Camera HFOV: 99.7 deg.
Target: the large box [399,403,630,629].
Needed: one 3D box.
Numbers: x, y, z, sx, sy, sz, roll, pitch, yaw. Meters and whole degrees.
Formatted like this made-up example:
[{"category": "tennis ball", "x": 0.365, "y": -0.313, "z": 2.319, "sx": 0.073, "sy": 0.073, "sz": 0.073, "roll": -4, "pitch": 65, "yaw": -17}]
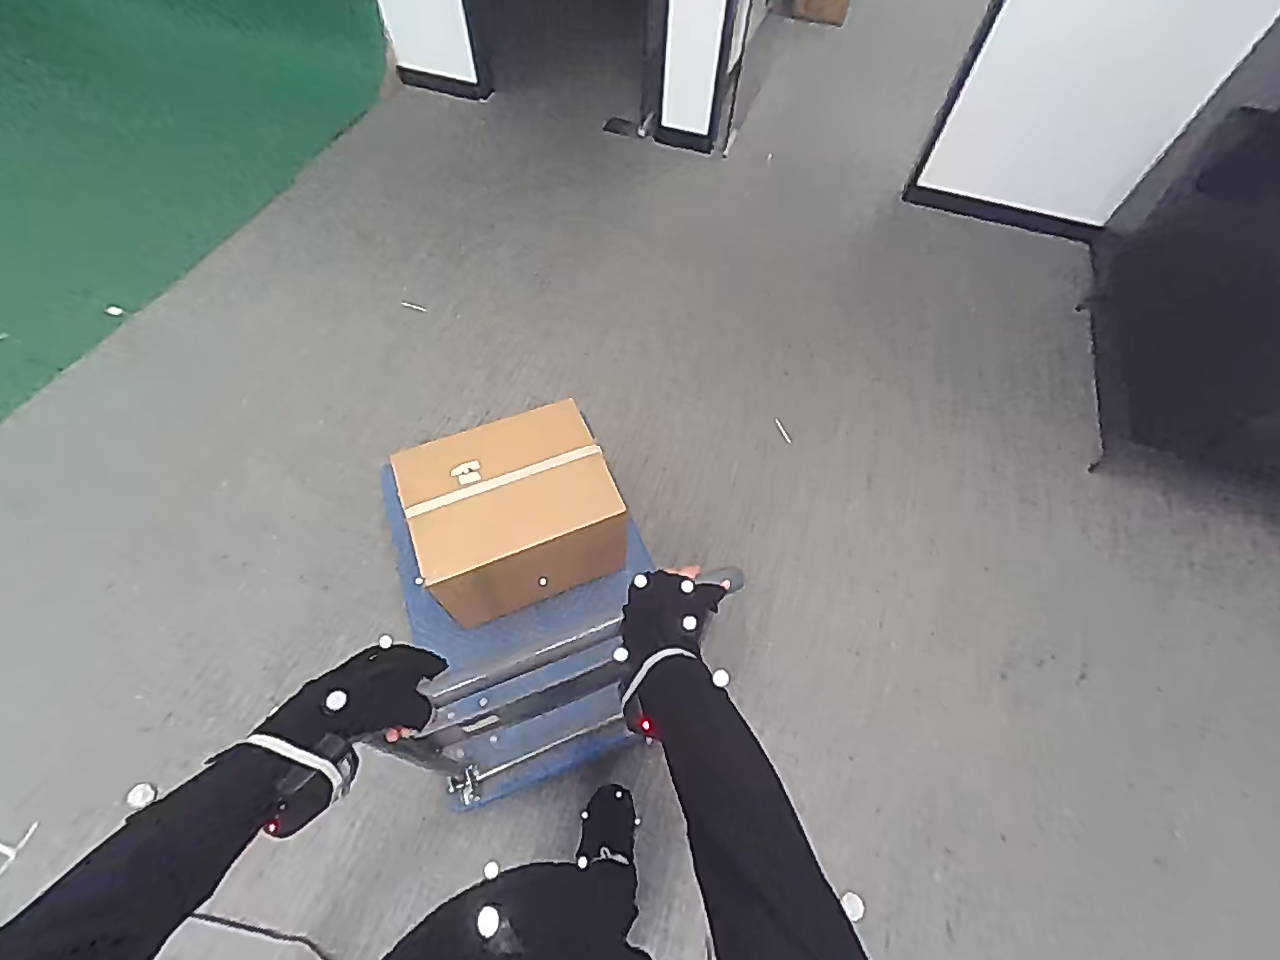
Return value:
[{"category": "large box", "x": -0.266, "y": 0.088, "z": 1.234, "sx": 0.408, "sy": 0.320, "sz": 0.320, "roll": -21, "pitch": 62, "yaw": -13}]
